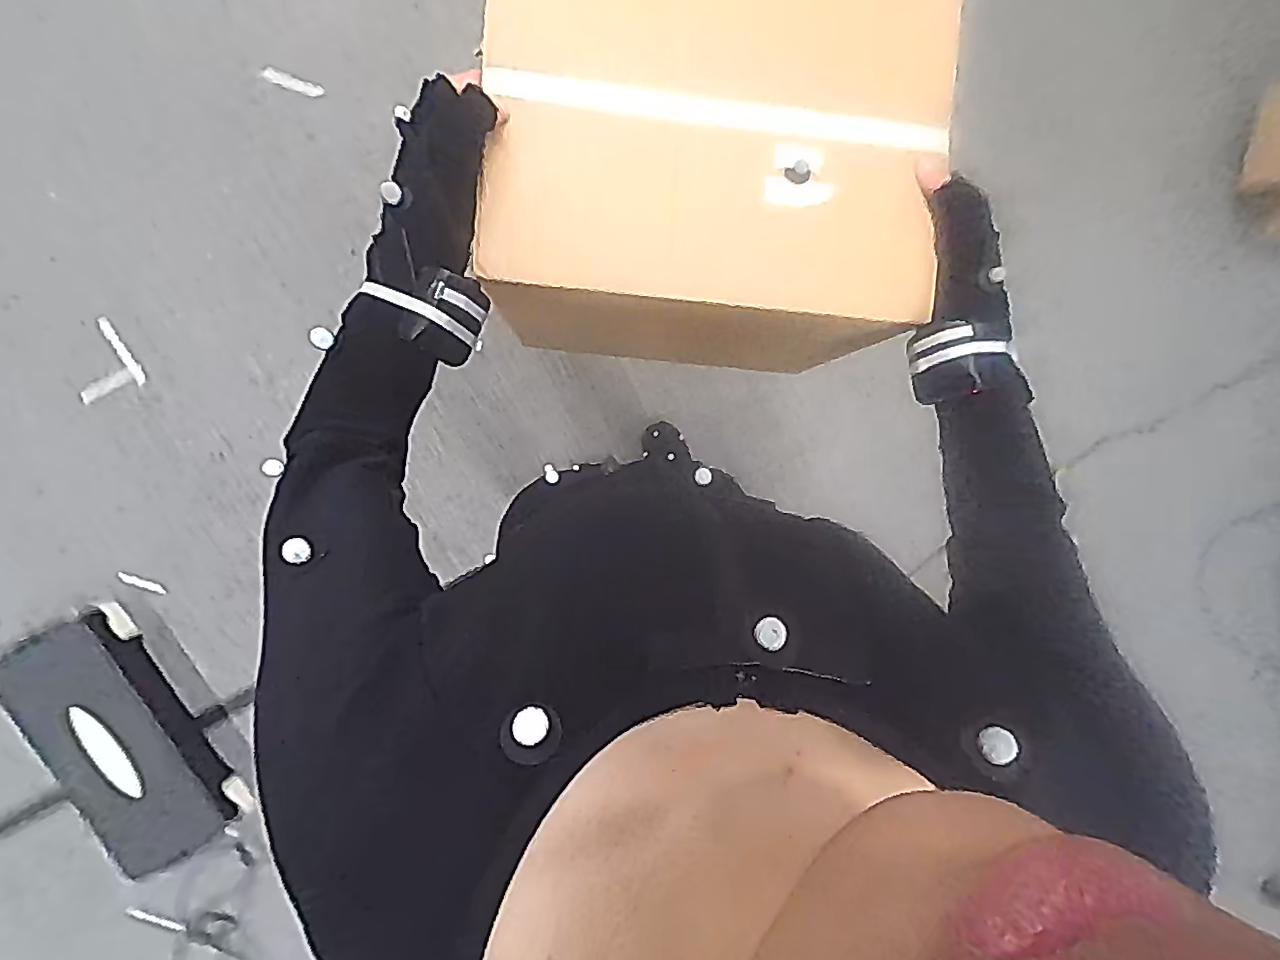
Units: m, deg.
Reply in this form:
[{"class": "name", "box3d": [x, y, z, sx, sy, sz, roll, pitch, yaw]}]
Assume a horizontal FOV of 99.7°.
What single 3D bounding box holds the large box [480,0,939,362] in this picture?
[{"class": "large box", "box3d": [0.051, -0.325, 0.619, 0.408, 0.320, 0.320, 3, 93, -6]}]
